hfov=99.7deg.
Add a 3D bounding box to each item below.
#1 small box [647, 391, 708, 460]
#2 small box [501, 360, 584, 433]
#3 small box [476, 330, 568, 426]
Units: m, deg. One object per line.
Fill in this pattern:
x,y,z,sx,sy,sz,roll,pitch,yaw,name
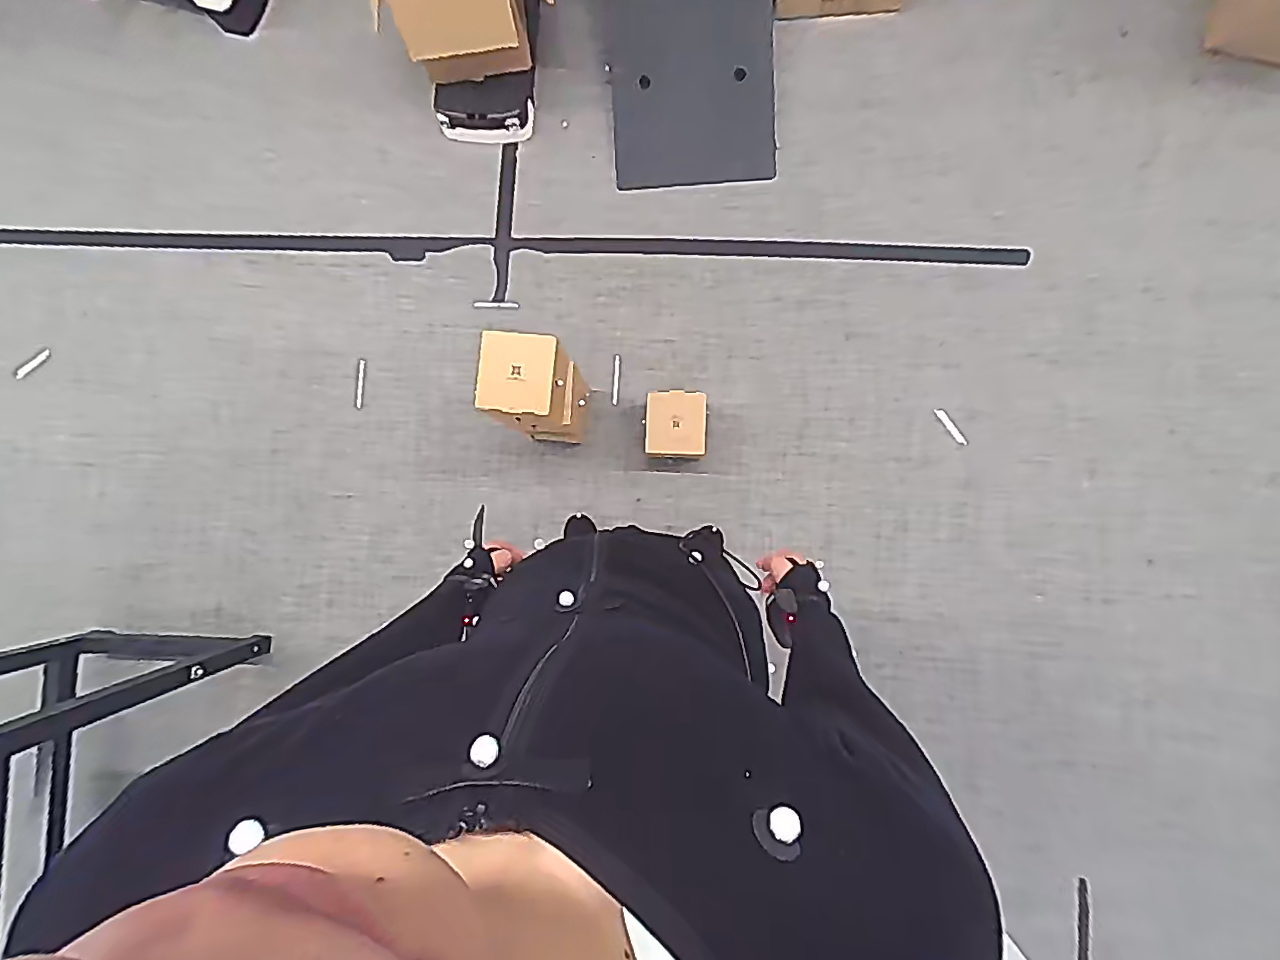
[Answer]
0.106,-0.152,1.560,0.168,0.176,0.179,2,89,4,small box
-0.248,-0.216,1.408,0.179,0.176,0.168,3,88,1,small box
-0.263,-0.228,1.246,0.168,0.176,0.179,5,89,2,small box
